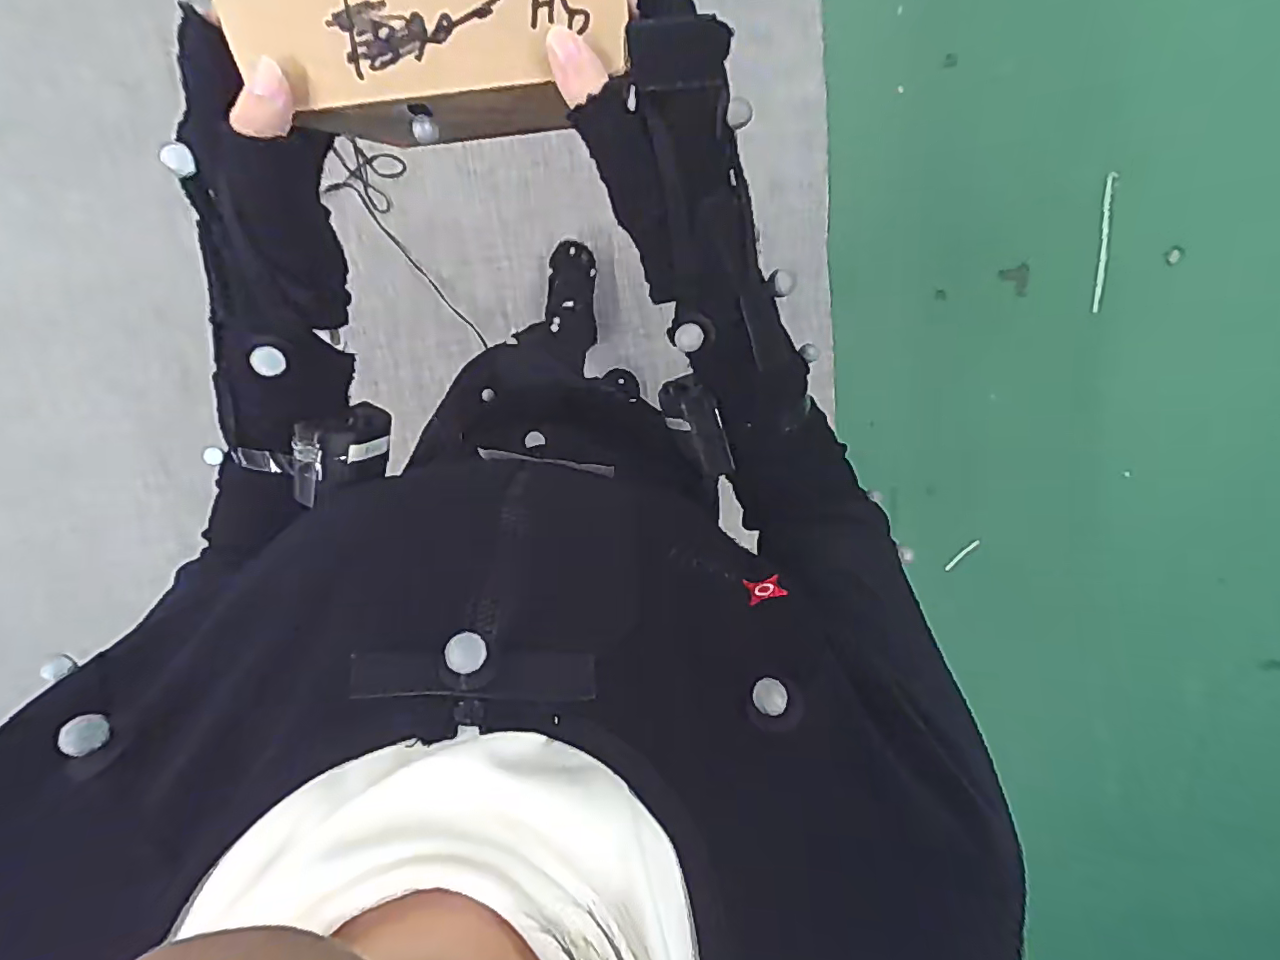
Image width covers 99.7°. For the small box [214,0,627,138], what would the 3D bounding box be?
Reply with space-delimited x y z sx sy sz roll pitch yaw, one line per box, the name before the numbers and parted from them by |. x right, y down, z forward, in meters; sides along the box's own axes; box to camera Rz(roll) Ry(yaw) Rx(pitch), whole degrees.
small box | -0.099 -0.287 0.264 0.168 0.176 0.179 -6 117 1
